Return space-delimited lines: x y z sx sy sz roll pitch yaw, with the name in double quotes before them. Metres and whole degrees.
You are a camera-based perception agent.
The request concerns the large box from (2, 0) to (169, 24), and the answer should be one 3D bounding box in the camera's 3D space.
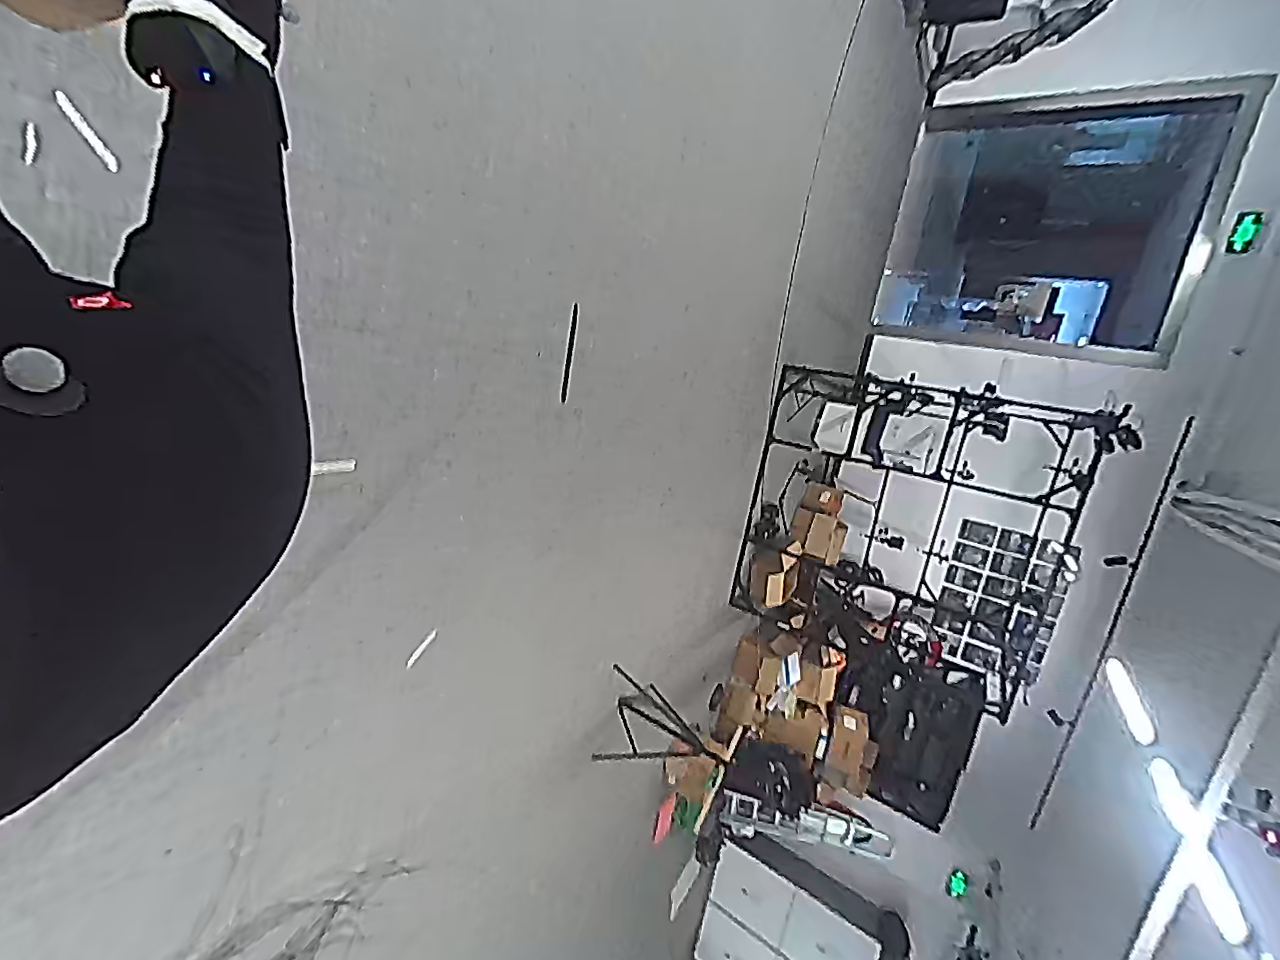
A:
"large box" -0.526 -0.549 0.281 0.408 0.320 0.320 3 109 -60
